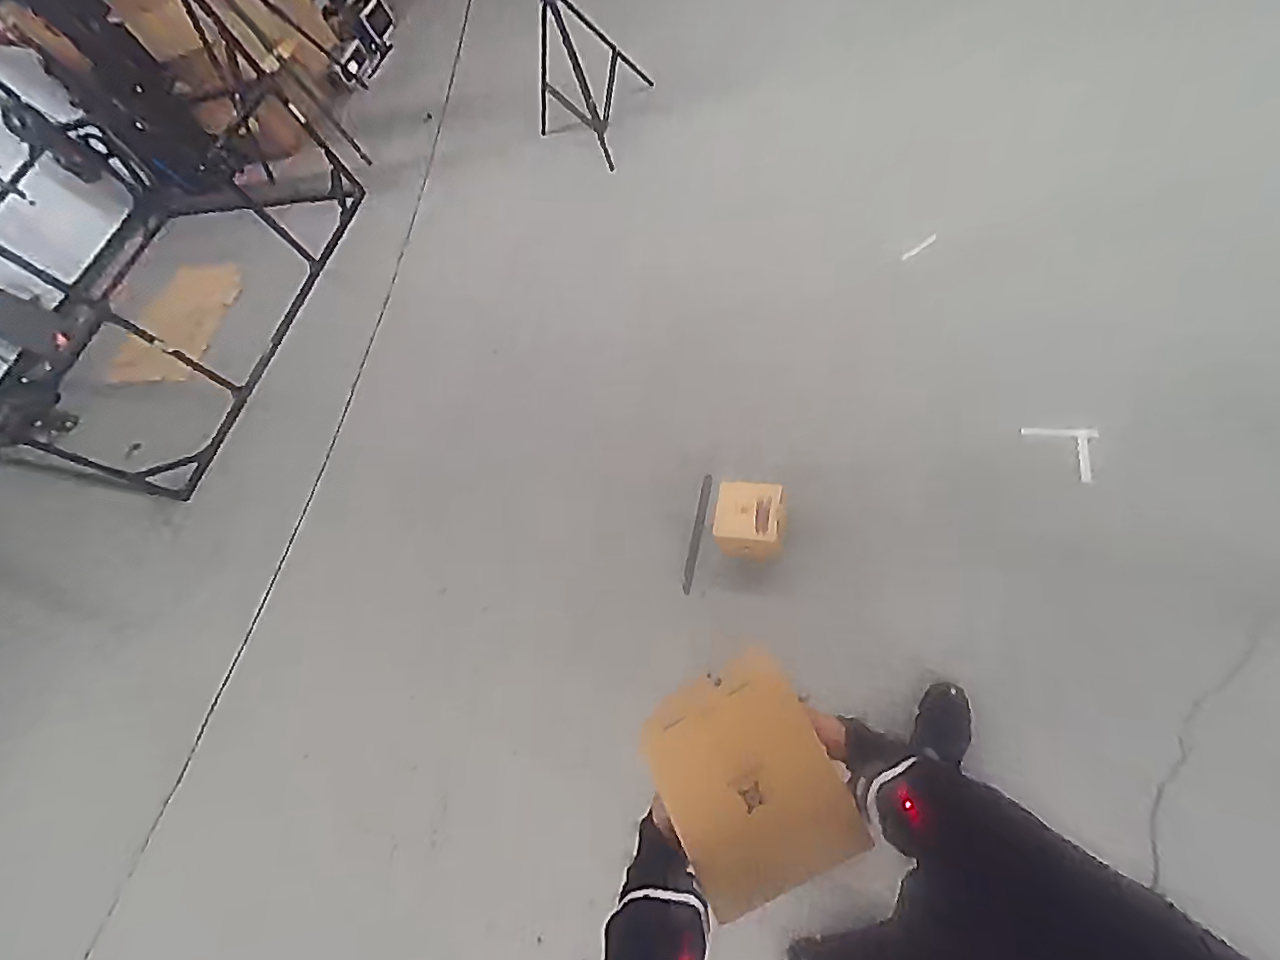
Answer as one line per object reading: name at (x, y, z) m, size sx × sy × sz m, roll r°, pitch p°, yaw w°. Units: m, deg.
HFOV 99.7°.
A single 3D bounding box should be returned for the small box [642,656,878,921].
small box at (0.122, 0.312, 0.591) m, size 0.168 × 0.176 × 0.179 m, roll -28°, pitch 74°, yaw 1°
